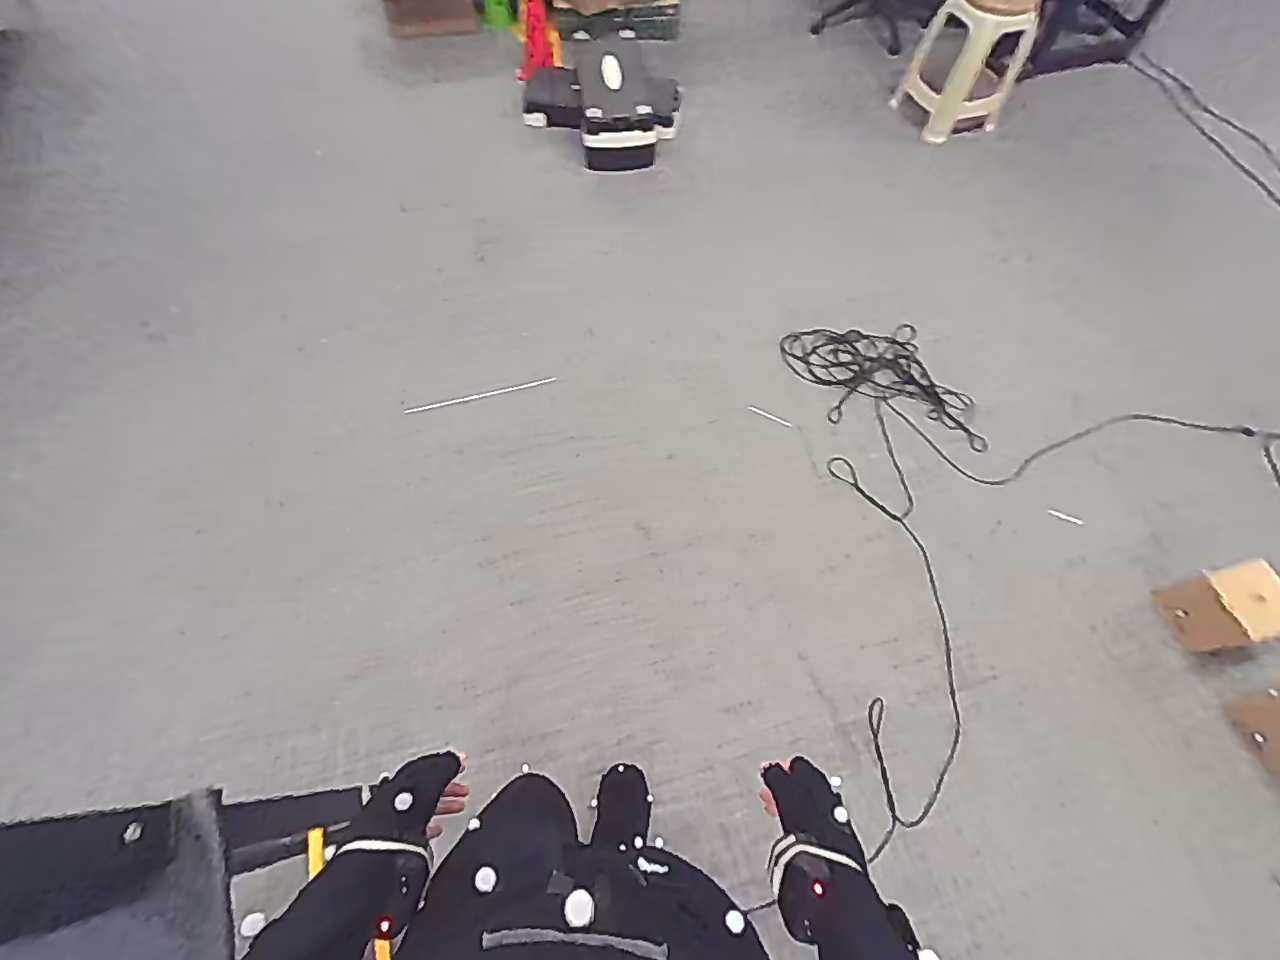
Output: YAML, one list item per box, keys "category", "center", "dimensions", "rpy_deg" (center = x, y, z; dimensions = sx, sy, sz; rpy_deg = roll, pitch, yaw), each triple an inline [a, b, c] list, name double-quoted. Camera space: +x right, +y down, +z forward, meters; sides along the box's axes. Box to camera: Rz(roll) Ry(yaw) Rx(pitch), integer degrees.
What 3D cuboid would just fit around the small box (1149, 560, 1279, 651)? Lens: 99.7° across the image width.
- category: "small box"
  center: [1.477, 0.322, 1.372]
  dimensions: [0.179, 0.176, 0.168]
  rpy_deg: [-13, 64, -7]
